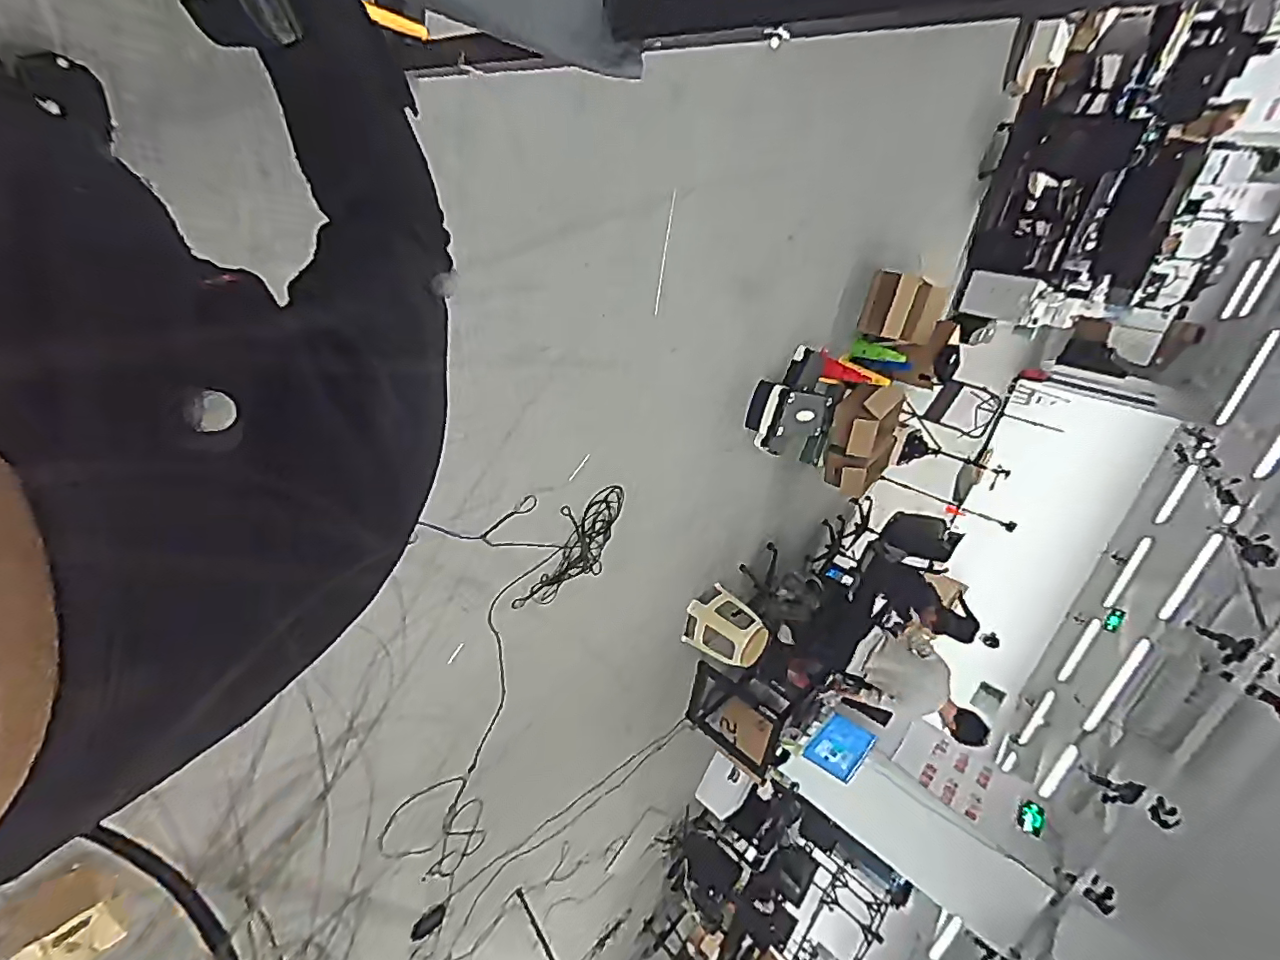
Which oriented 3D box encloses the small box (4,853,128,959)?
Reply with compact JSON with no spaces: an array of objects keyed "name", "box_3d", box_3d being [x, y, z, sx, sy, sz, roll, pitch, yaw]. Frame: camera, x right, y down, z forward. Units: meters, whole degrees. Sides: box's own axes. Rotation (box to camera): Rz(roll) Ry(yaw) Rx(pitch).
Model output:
[{"name":"small box","box_3d":[-1.437,1.087,1.354,0.168,0.176,0.179,-24,131,-40]}]
